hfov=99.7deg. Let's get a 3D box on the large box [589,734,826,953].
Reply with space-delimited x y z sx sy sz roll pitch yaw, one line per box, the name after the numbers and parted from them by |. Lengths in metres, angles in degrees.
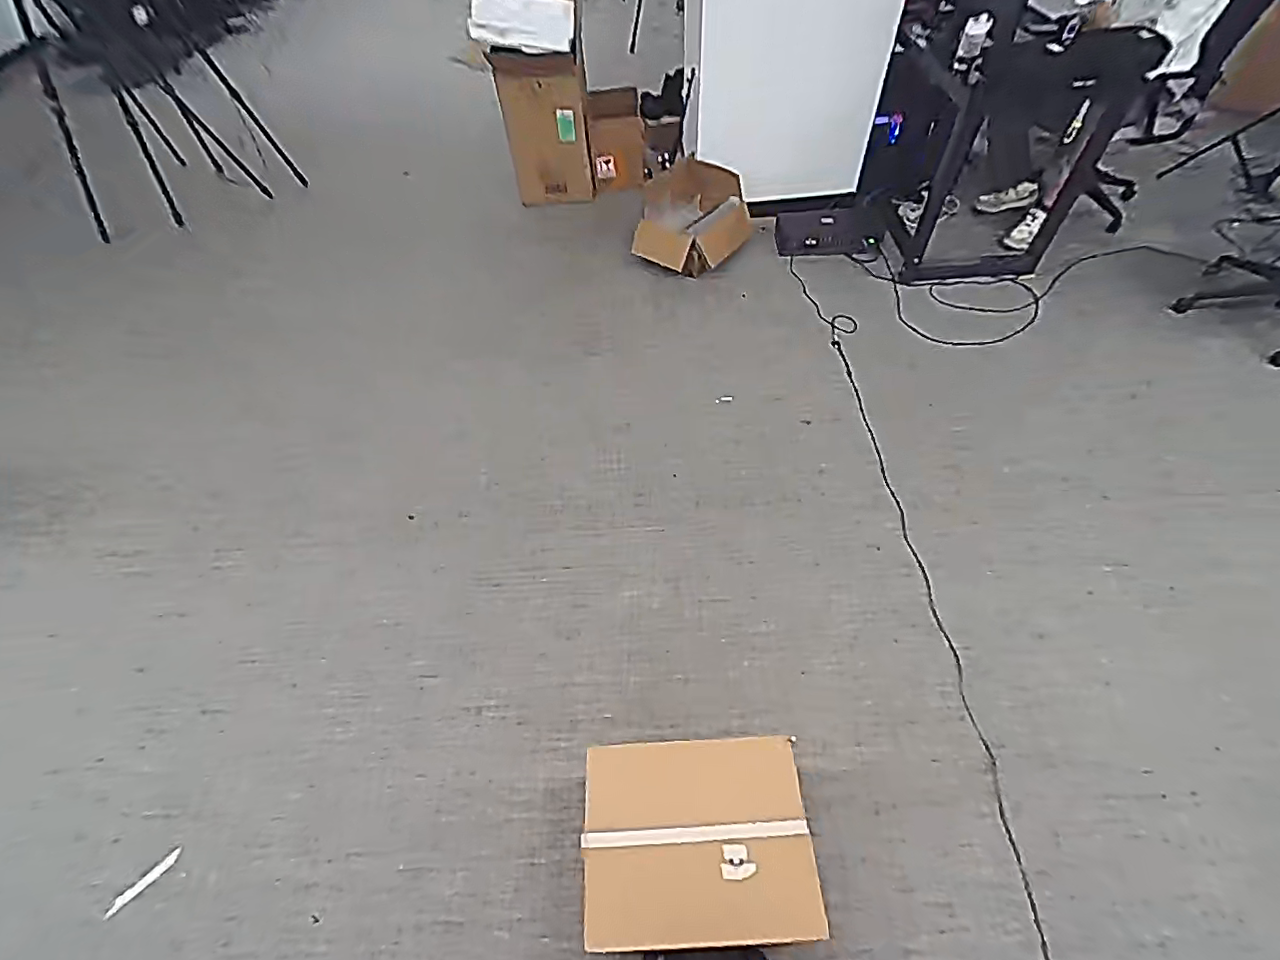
0.110 0.736 1.104 0.408 0.320 0.320 -4 53 0 | large box
